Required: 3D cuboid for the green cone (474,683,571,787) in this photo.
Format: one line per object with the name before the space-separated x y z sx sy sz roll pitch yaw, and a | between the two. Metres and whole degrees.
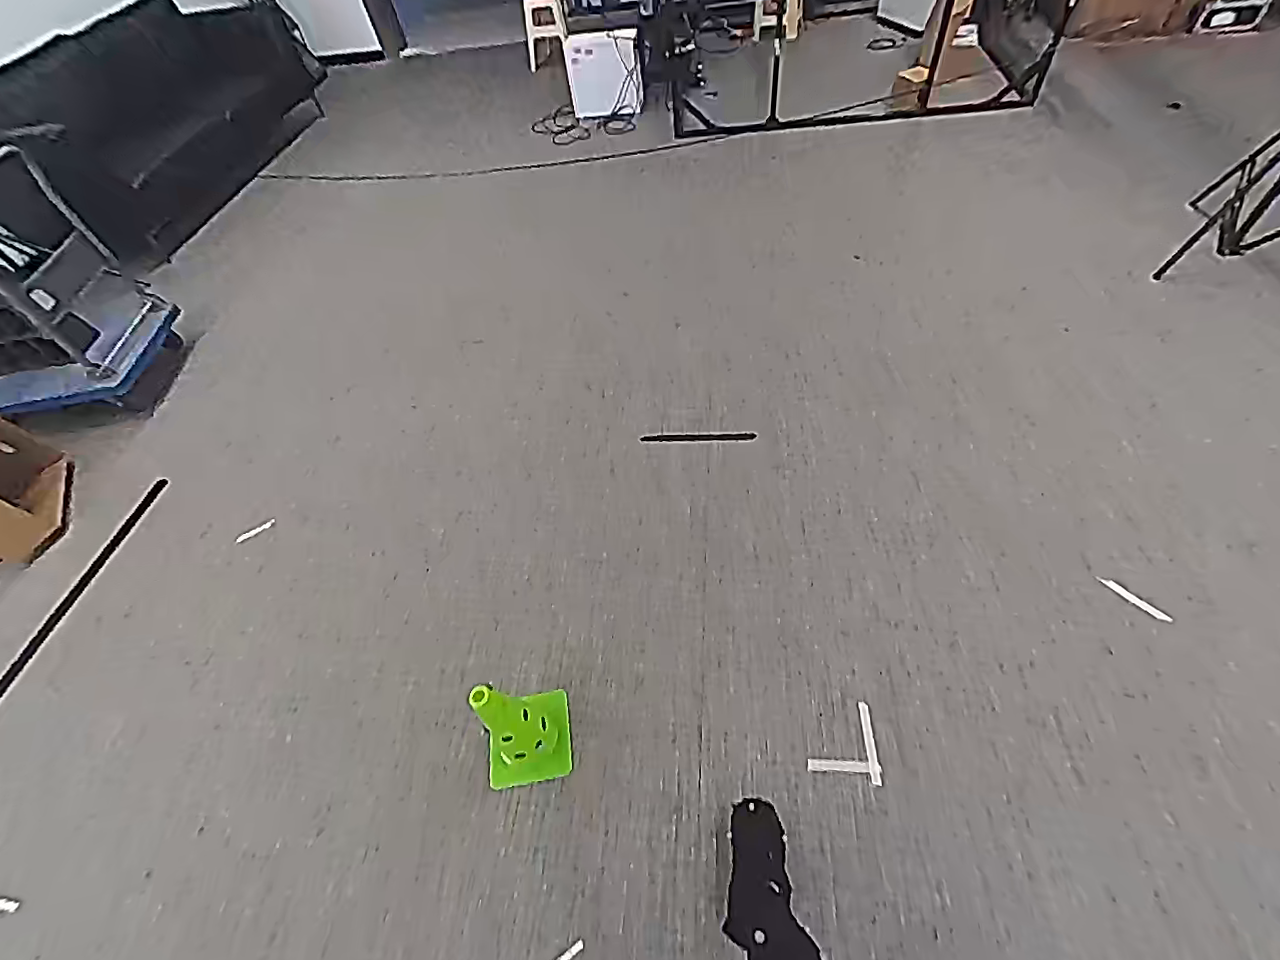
green cone | -0.291 0.527 1.189 0.202 0.368 0.200 -11 53 -1
